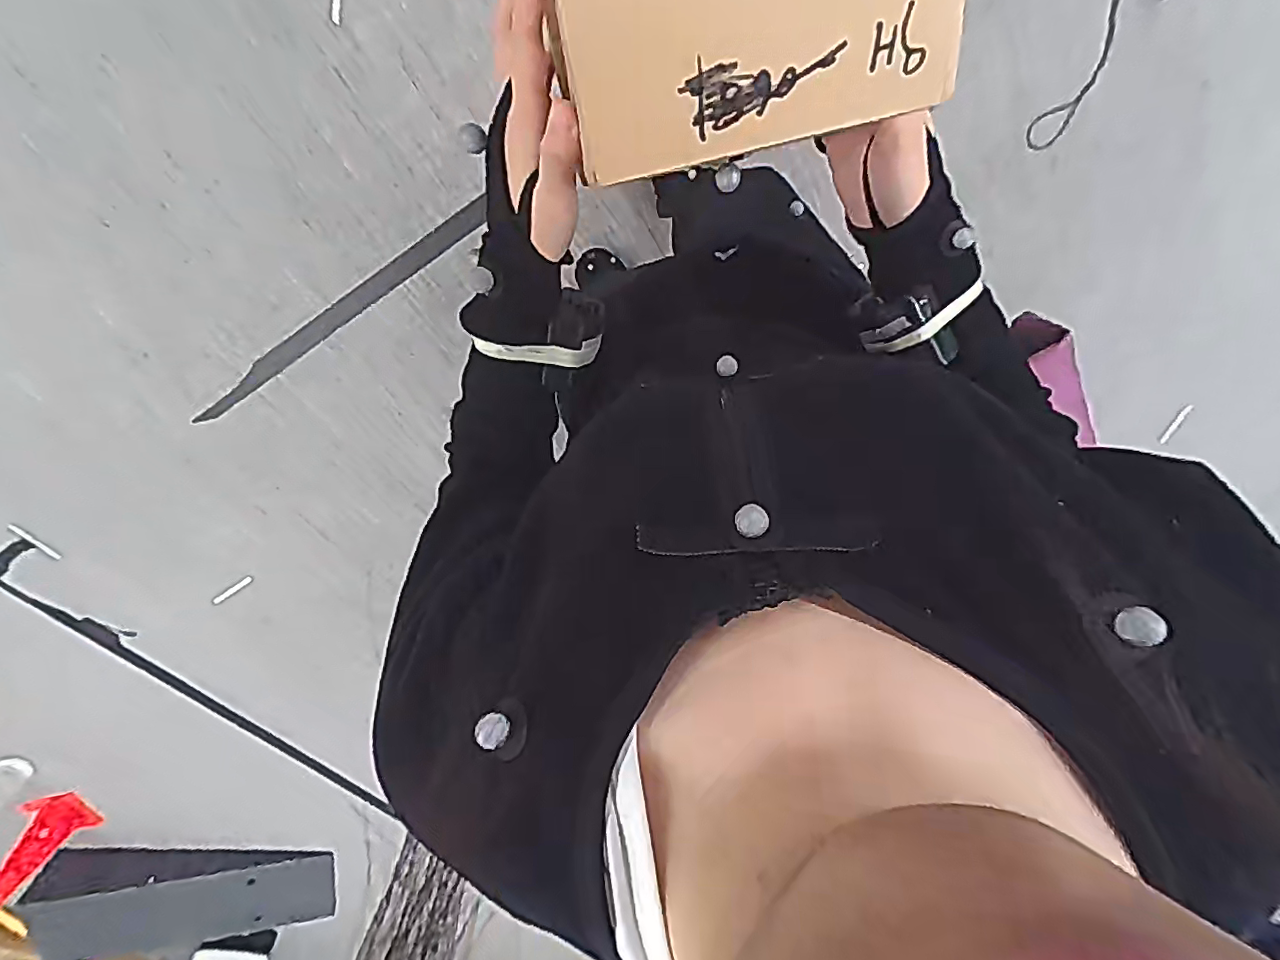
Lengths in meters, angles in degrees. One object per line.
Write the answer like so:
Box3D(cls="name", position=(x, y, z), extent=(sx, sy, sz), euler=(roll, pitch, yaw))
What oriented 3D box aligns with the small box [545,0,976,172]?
Box3D(cls="small box", position=(0.034, -0.265, 0.260), extent=(0.168, 0.176, 0.179), euler=(-14, 119, 0))
